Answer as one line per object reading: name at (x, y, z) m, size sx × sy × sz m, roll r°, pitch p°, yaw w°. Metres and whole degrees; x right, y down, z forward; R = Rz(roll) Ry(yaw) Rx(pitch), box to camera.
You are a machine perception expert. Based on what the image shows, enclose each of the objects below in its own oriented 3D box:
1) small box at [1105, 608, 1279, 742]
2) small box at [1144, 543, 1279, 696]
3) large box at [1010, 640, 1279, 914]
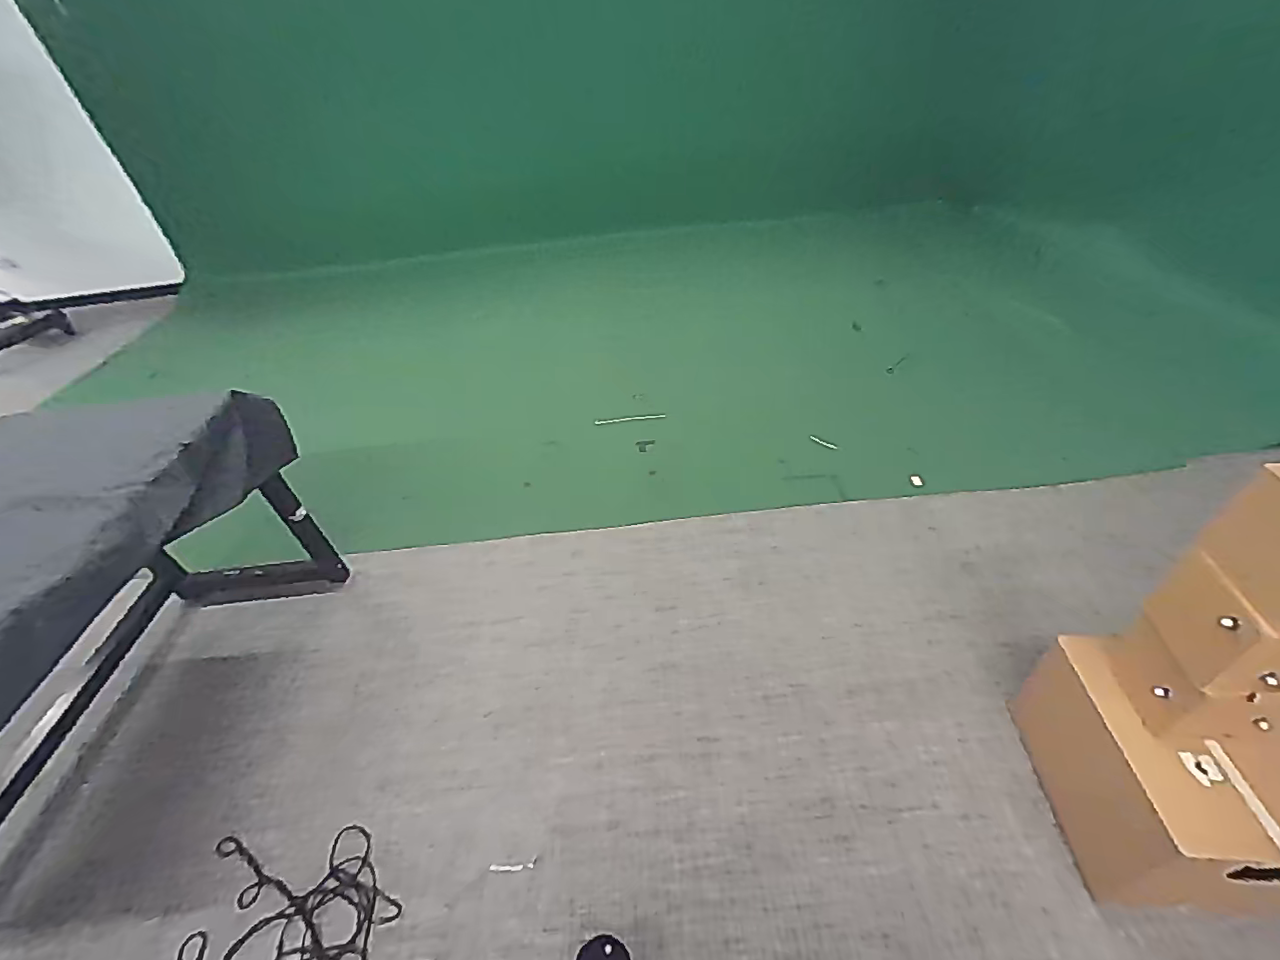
small box at (1.001, 0.349, 0.968) m, size 0.168 × 0.176 × 0.179 m, roll -1°, pitch 40°, yaw 5°
small box at (0.980, 0.223, 0.867) m, size 0.168 × 0.176 × 0.179 m, roll 0°, pitch 42°, yaw 7°
large box at (1.033, 0.575, 1.074) m, size 0.320 × 0.320 × 0.408 m, roll -3°, pitch 42°, yaw 7°
